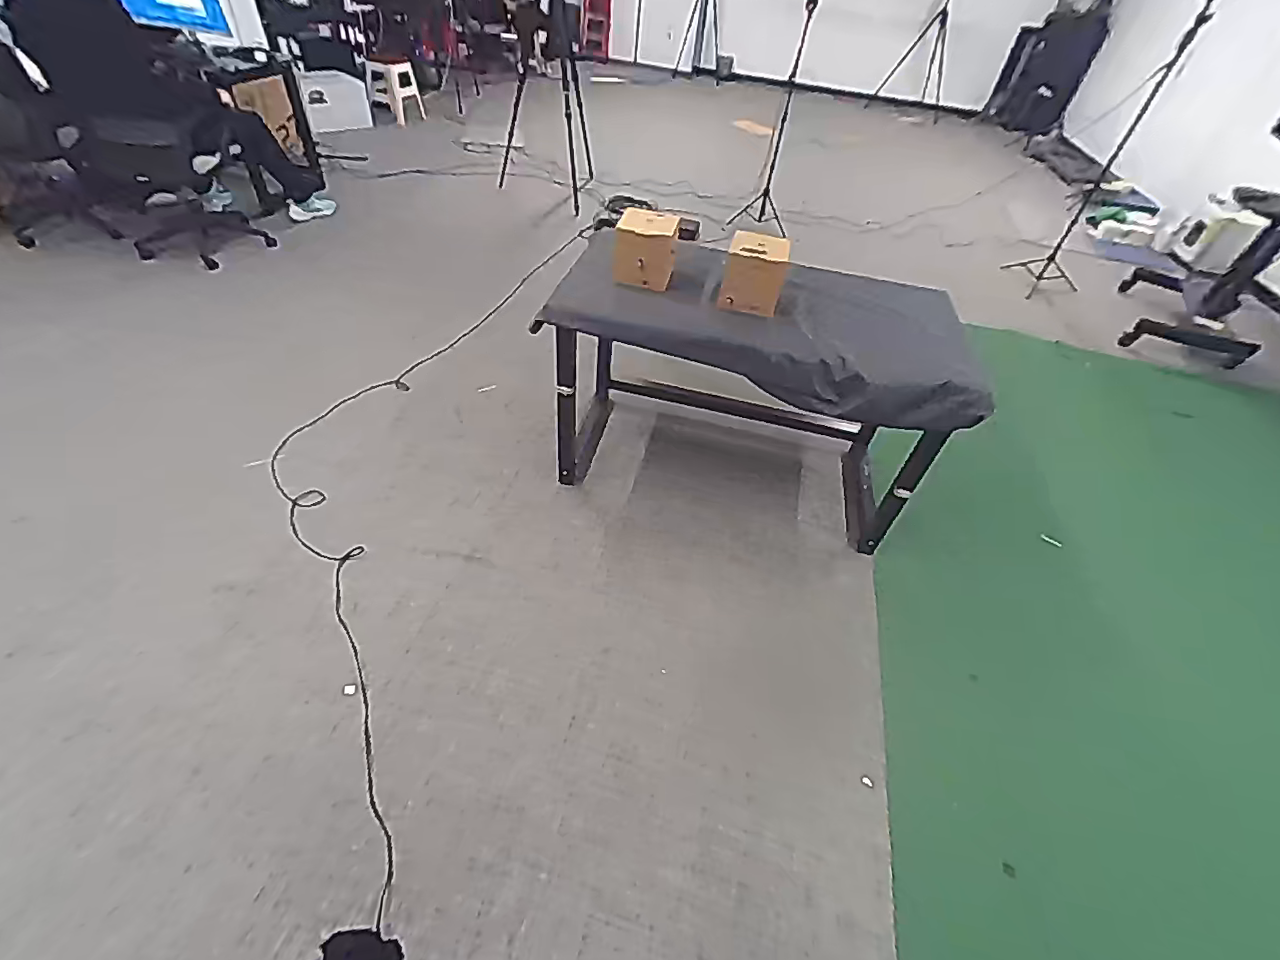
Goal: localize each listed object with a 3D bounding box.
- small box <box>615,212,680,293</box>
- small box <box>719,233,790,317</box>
[{"bbox_3d":[0.020,-0.692,1.650,0.168,0.176,0.179,12,46,5],"label":"small box"},{"bbox_3d":[0.335,-0.604,1.599,0.168,0.176,0.179,14,44,7],"label":"small box"}]
